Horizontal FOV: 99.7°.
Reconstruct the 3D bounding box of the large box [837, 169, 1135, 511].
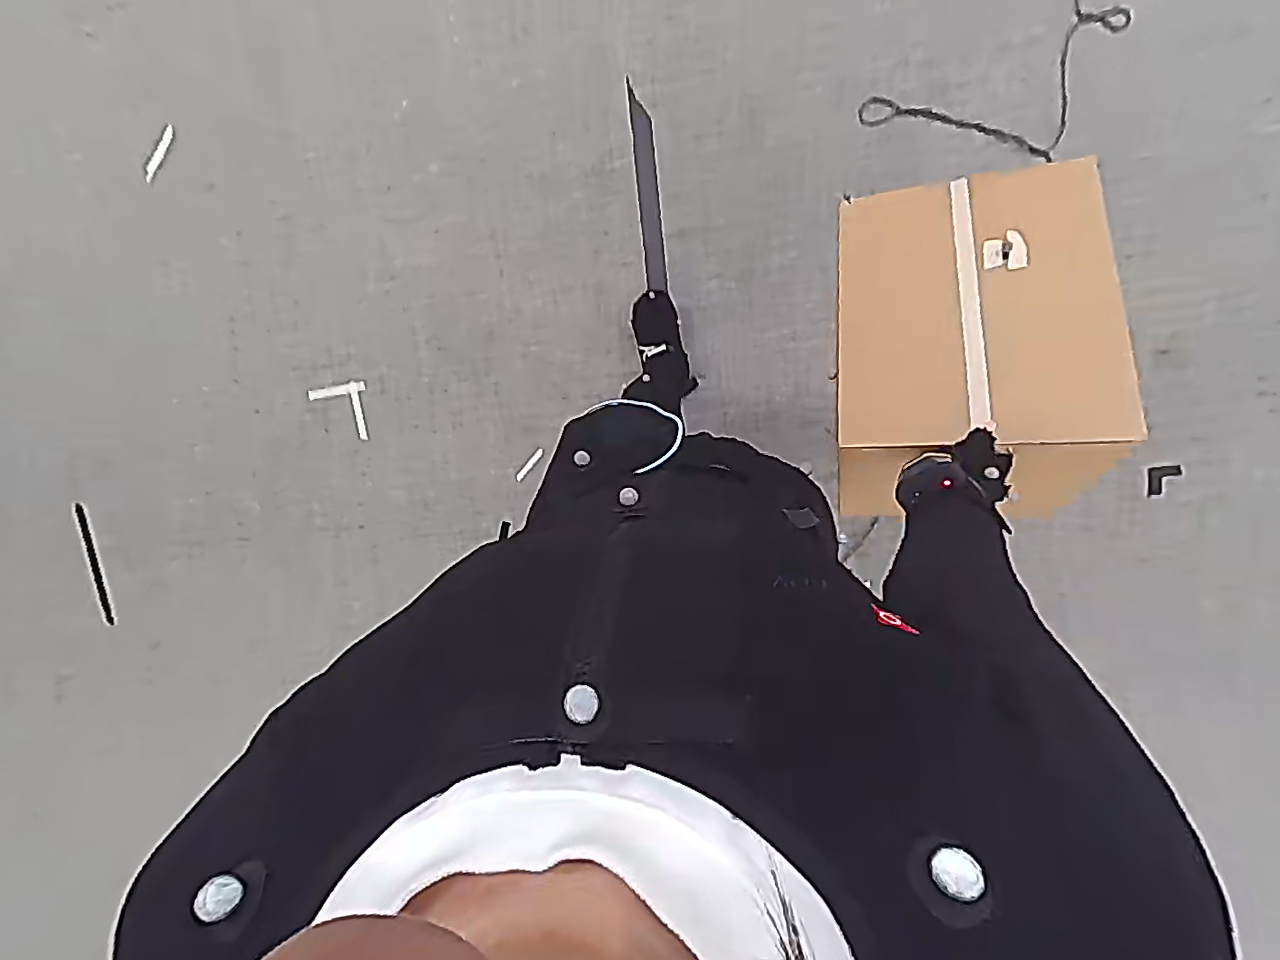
[{"bbox_3d":[0.477,-0.183,0.847,0.320,0.320,0.408,0,69,19],"label":"large box"}]
